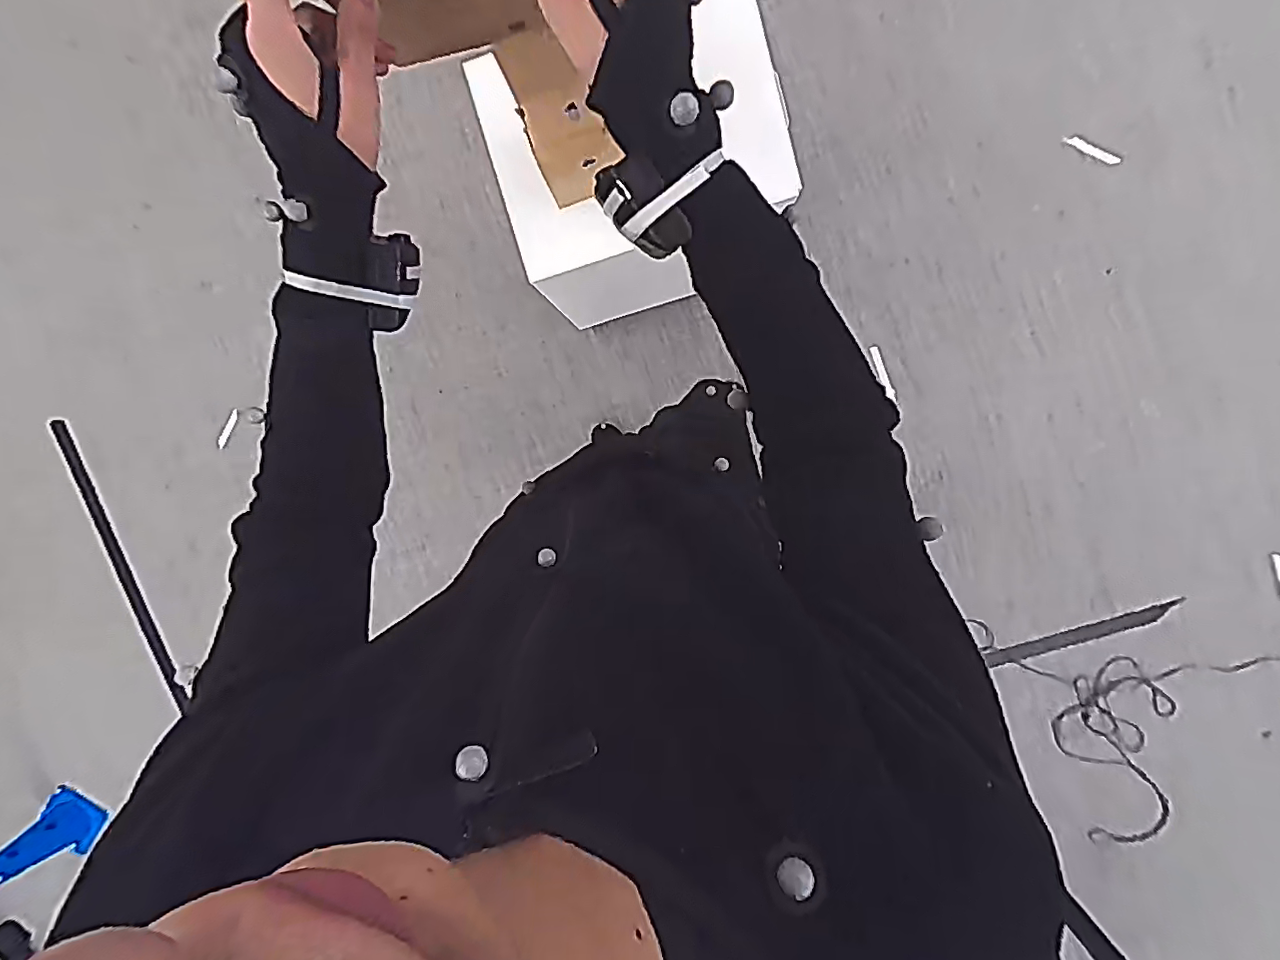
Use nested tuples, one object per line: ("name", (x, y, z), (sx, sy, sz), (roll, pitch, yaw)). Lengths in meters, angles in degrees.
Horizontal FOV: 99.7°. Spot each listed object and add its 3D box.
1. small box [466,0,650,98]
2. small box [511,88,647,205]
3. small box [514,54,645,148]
("small box", (-0.096, -0.545, 0.558), (0.179, 0.176, 0.168), (-18, 96, 4))
("small box", (-0.094, -0.583, 0.884), (0.179, 0.176, 0.168), (-19, 95, 4))
("small box", (-0.094, -0.580, 0.721), (0.168, 0.176, 0.179), (-18, 95, 4))
